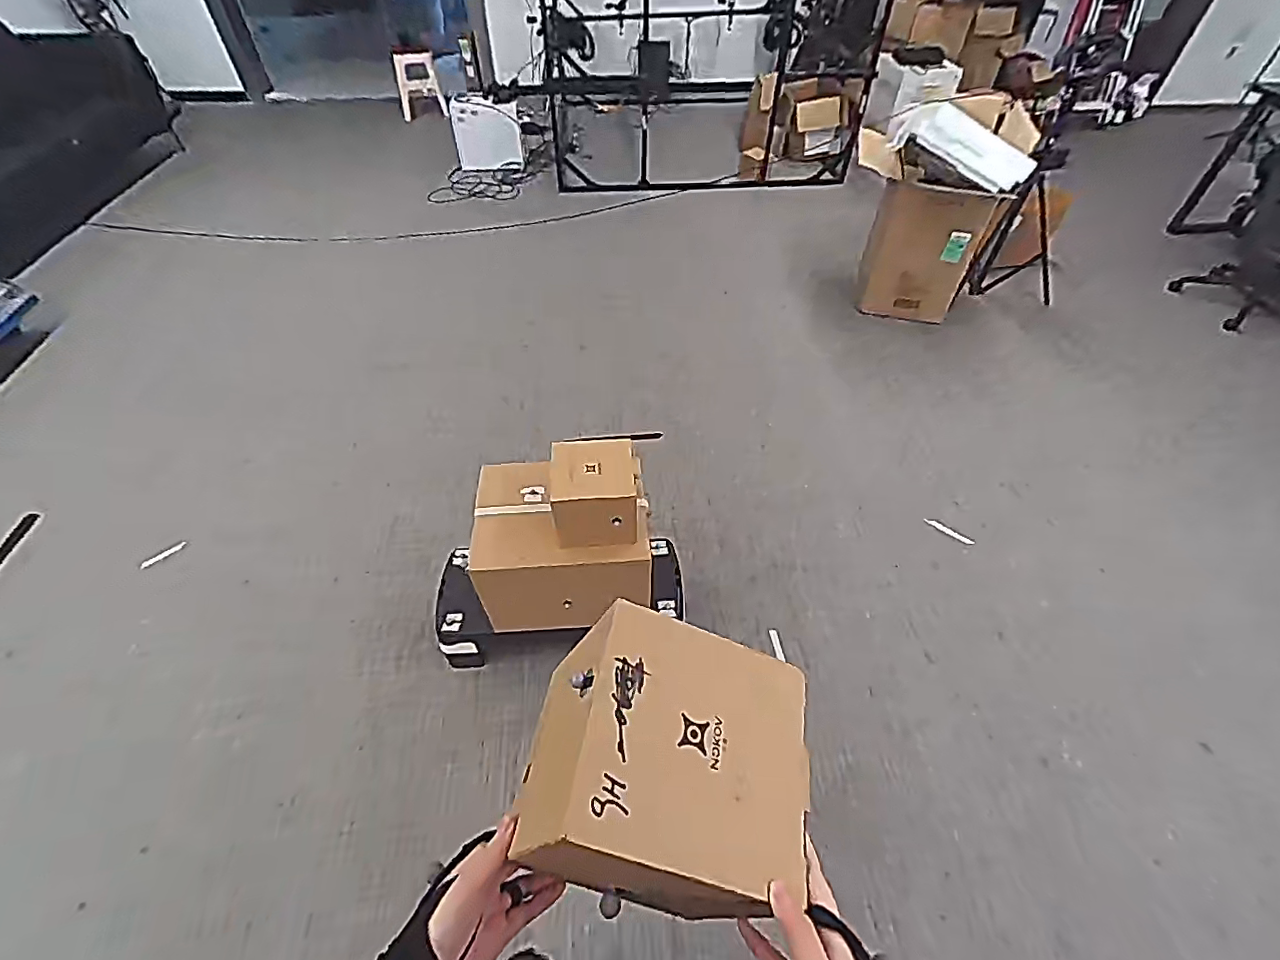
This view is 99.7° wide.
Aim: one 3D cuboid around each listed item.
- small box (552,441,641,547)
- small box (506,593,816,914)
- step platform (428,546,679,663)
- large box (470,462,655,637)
[{"bbox_3d":[-0.091,0.033,1.177,0.179,0.176,0.168,-3,49,-2],"label":"small box"},{"bbox_3d":[0.017,0.225,0.436,0.179,0.176,0.168,26,44,-11],"label":"small box"},{"bbox_3d":[-0.231,0.354,1.538,0.684,0.204,0.286,1,48,1],"label":"step platform"},{"bbox_3d":[-0.178,0.179,1.375,0.408,0.320,0.320,-4,48,-2],"label":"large box"}]
